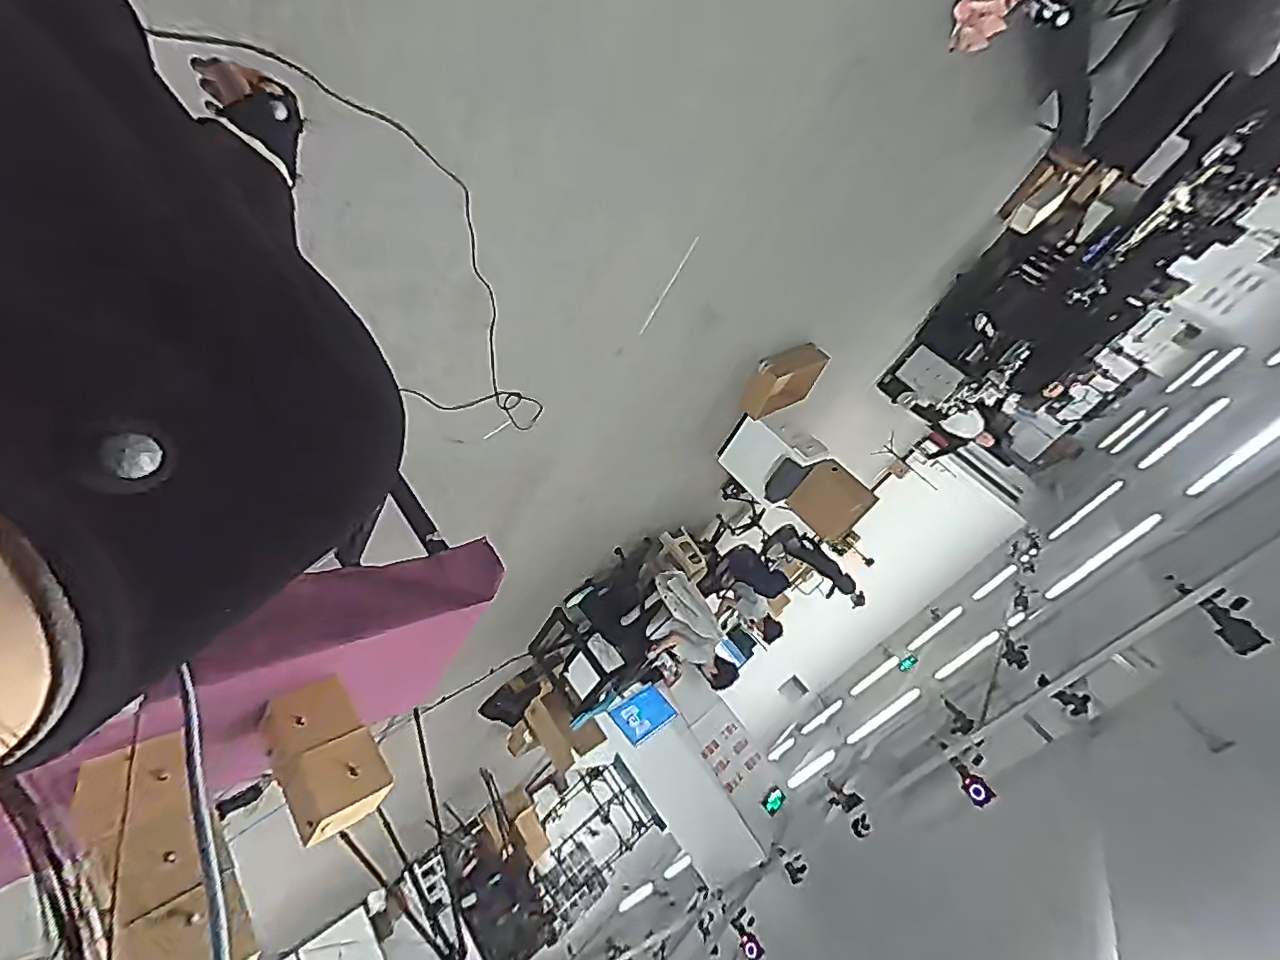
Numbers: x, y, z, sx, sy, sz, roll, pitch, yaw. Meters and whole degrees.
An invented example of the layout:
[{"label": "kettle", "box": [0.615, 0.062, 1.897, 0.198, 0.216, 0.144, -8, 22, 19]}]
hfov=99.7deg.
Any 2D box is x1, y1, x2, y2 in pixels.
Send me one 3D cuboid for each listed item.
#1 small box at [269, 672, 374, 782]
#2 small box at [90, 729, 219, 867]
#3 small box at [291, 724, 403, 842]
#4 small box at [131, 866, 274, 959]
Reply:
[{"label": "small box", "box": [-0.847, 0.645, 1.430, 0.179, 0.176, 0.168, -7, 140, -54]}, {"label": "small box", "box": [-1.044, 0.667, 1.160, 0.168, 0.176, 0.179, -5, 138, -55]}, {"label": "small box", "box": [-0.743, 0.756, 1.369, 0.179, 0.176, 0.168, -7, 139, -54]}, {"label": "small box", "box": [-0.838, 0.890, 1.033, 0.168, 0.176, 0.179, -8, 139, -54]}]
